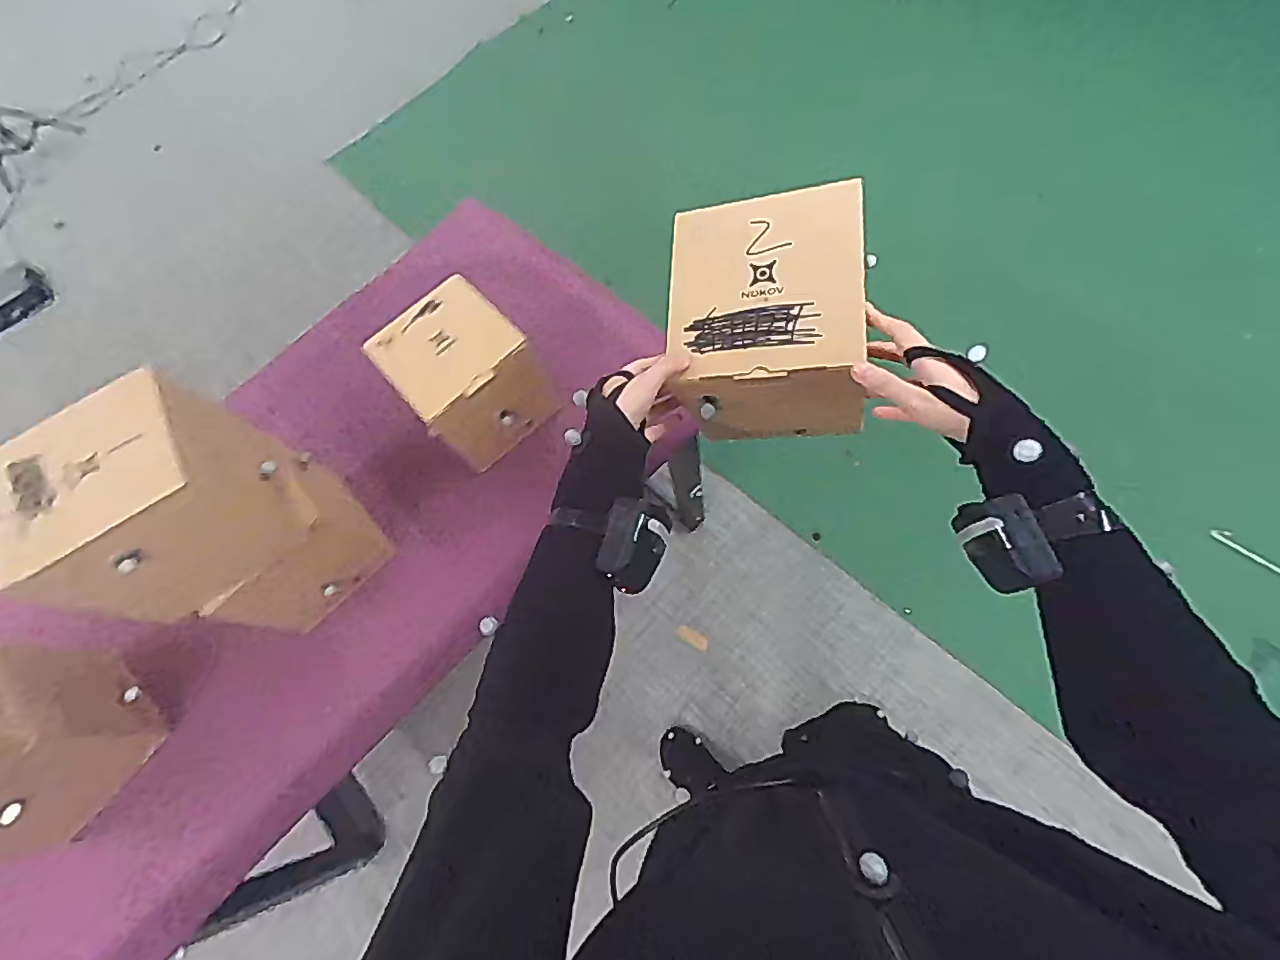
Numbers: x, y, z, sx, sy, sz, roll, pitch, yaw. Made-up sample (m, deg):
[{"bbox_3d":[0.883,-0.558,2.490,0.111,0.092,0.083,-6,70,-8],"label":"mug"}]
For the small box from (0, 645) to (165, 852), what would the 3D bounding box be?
[{"bbox_3d":[-0.756,0.329,0.660,0.168,0.176,0.179,36,76,19],"label":"small box"}]

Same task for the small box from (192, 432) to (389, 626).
[{"bbox_3d":[-0.484,0.075,0.727,0.168,0.176,0.179,-43,69,-10],"label":"small box"}]

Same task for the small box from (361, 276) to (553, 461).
[{"bbox_3d":[-0.252,-0.148,0.786,0.168,0.176,0.179,-42,69,-9],"label":"small box"}]

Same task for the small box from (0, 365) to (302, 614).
[{"bbox_3d":[-0.510,0.021,0.573,0.179,0.176,0.168,-34,67,-7],"label":"small box"}]
